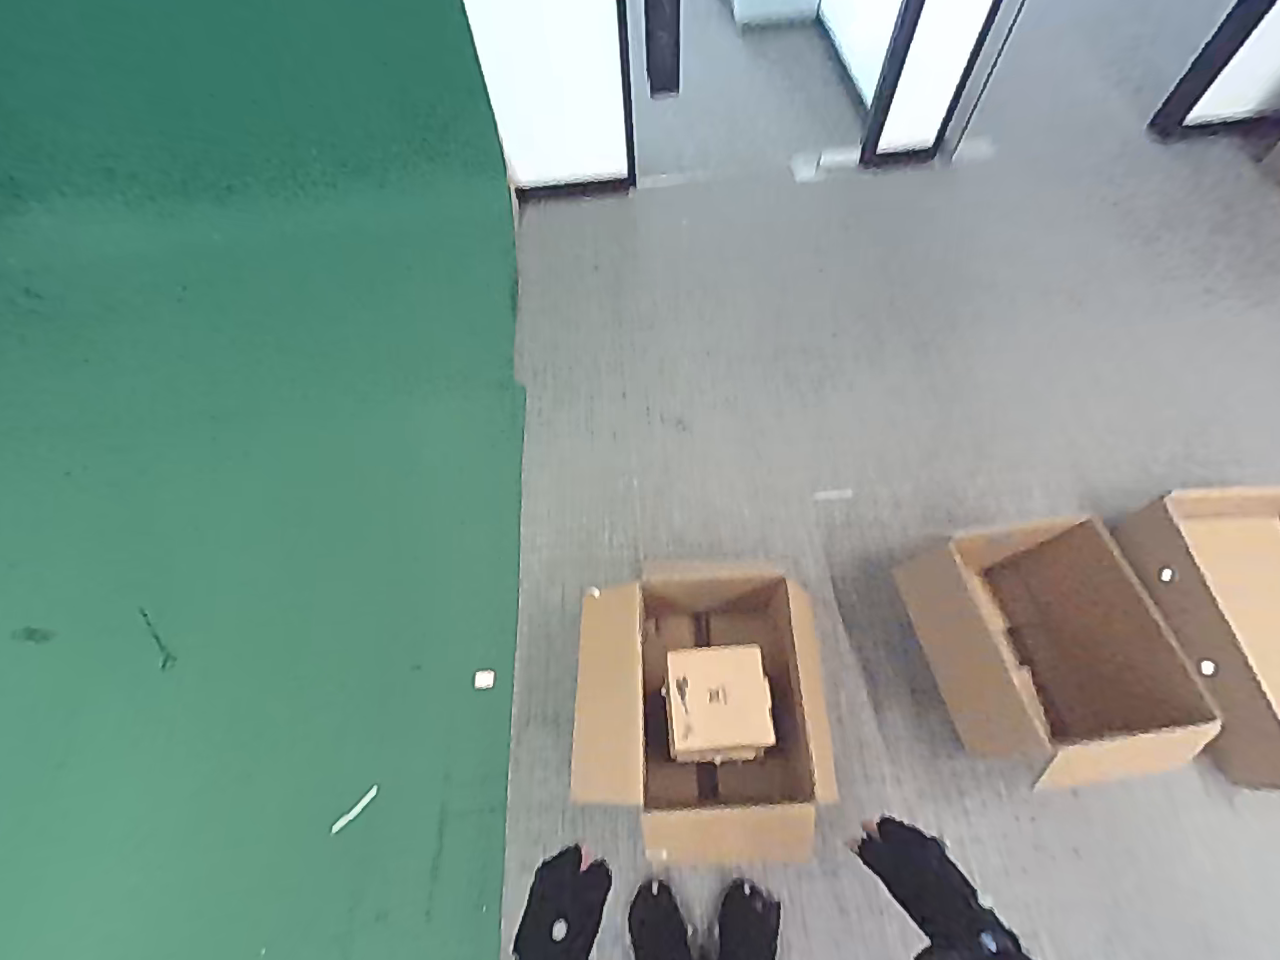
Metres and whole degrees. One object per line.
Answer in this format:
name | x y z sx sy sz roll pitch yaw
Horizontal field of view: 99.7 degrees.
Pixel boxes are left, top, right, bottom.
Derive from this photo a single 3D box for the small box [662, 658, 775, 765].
small box | 0.139 0.440 1.024 0.179 0.176 0.168 -2 58 -2
